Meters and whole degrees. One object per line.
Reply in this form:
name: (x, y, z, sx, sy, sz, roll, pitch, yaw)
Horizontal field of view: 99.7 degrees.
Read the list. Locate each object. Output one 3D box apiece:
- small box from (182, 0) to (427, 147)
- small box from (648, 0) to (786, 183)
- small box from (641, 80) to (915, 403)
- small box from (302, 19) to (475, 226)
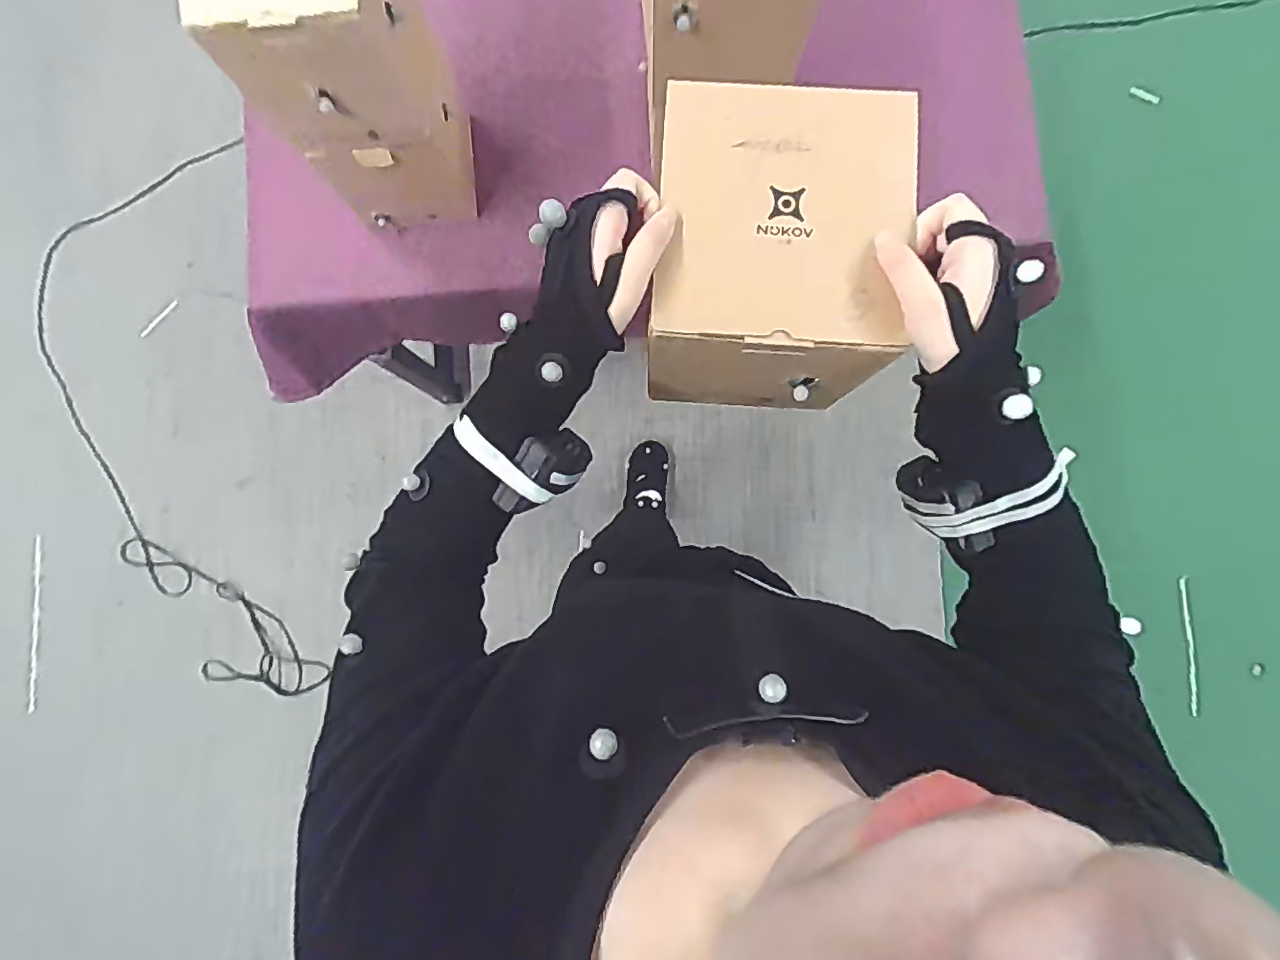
small box: (-0.341, -0.488, 0.581, 0.168, 0.176, 0.179, -4, 86, 0)
small box: (0.096, -0.523, 0.742, 0.168, 0.176, 0.179, -2, 85, 1)
small box: (0.092, -0.165, 0.426, 0.168, 0.176, 0.179, 4, 84, 2)
small box: (-0.335, -0.473, 0.745, 0.168, 0.176, 0.179, -6, 84, 0)
